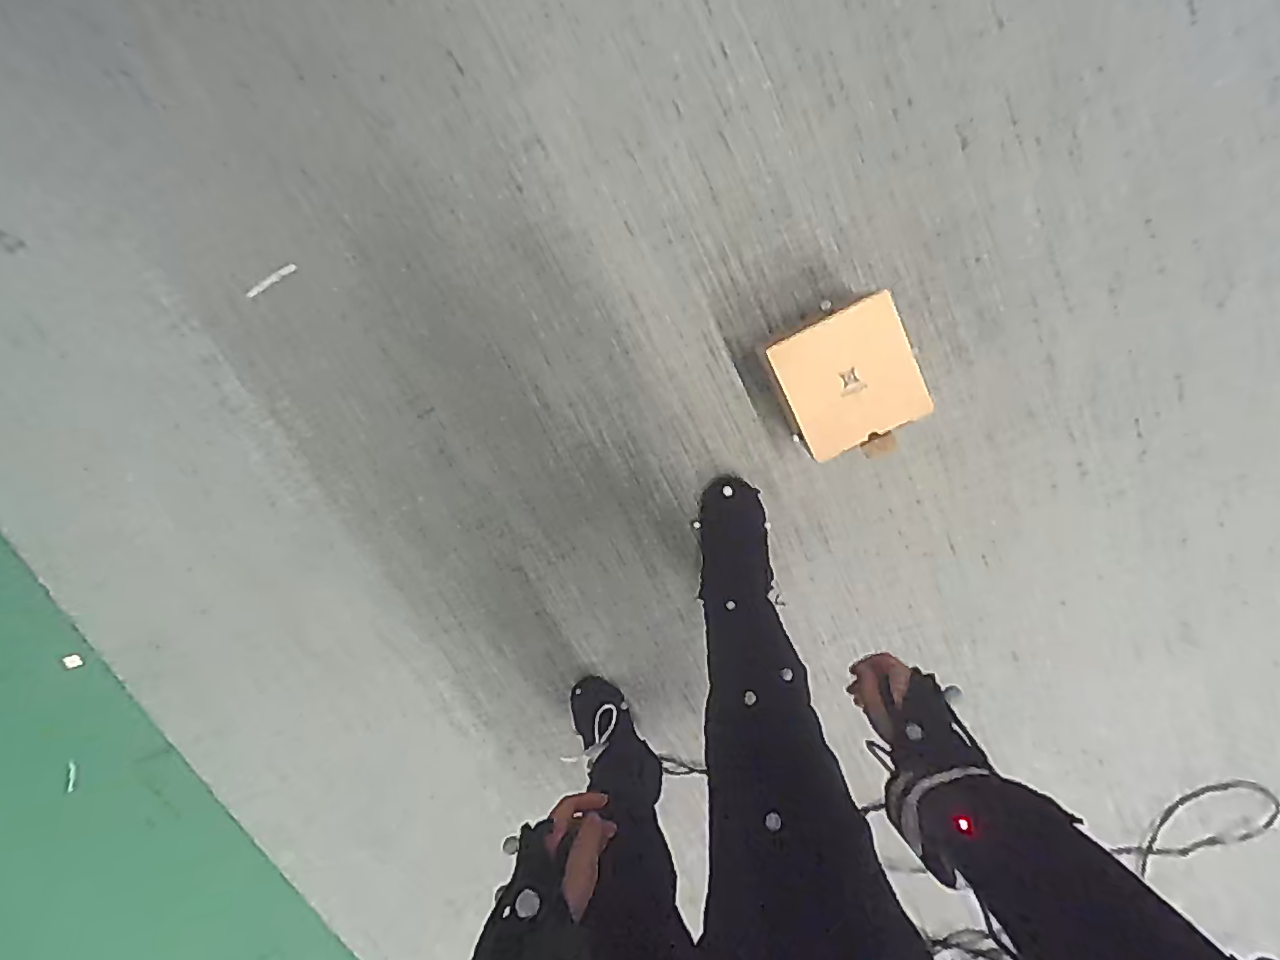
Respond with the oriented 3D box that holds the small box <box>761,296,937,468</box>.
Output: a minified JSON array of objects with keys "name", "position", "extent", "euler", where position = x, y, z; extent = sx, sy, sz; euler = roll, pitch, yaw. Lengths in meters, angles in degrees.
[{"name":"small box","position":[0.288,-0.145,0.785],"extent":[0.168,0.176,0.179],"euler":[-26,103,13]}]
